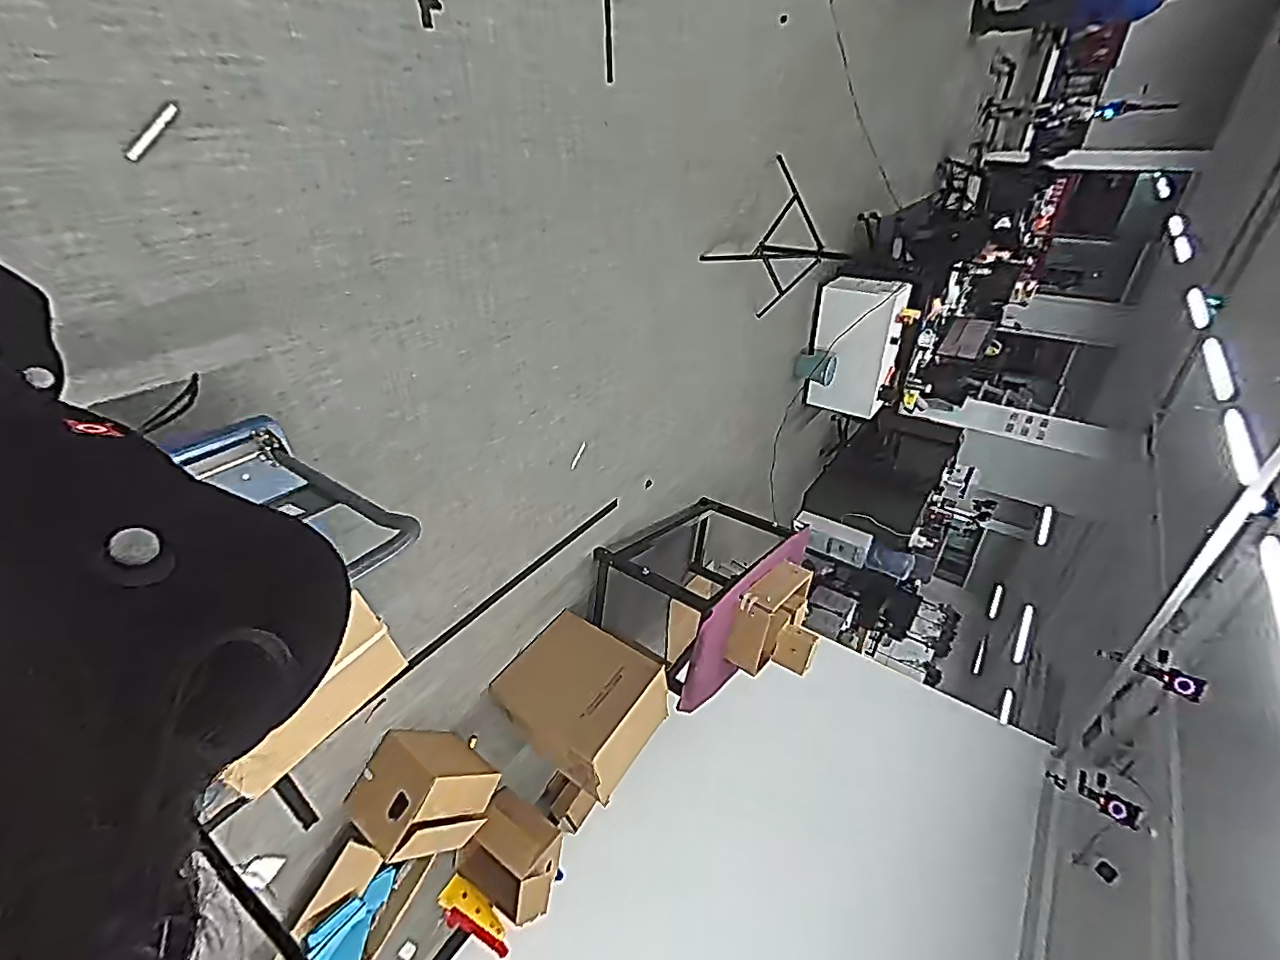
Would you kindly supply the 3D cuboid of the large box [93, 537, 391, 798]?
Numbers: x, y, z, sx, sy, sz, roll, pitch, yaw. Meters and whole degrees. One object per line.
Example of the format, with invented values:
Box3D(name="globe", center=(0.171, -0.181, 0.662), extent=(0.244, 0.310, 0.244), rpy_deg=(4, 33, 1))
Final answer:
Box3D(name="large box", center=(-0.883, 0.407, 1.246), extent=(0.408, 0.320, 0.320), rpy_deg=(-43, 140, -35))
